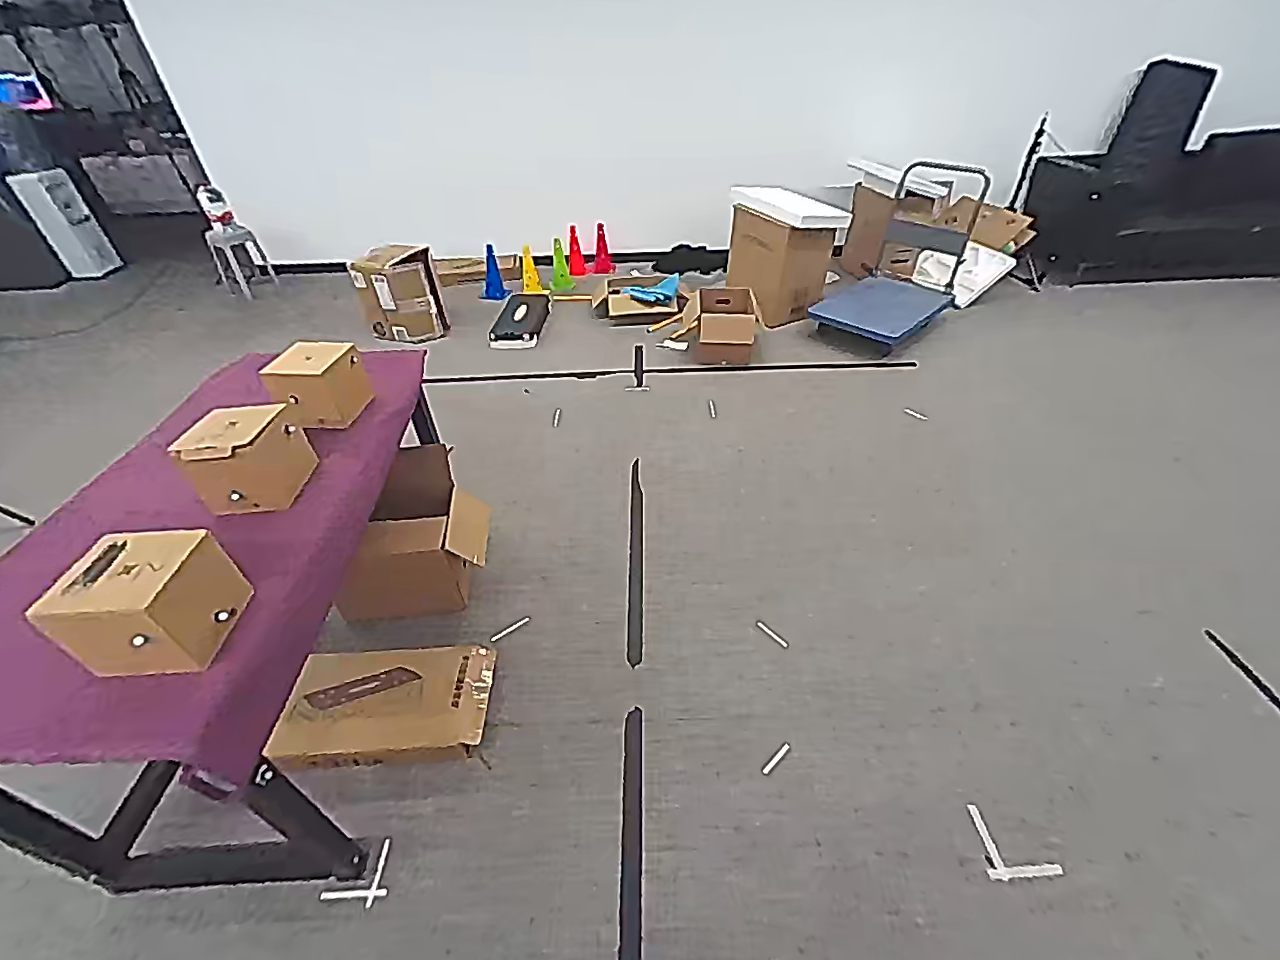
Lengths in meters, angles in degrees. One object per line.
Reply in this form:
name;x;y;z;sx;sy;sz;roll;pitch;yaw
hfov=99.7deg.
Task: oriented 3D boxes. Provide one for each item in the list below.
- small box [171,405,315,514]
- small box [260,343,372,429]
small box;-0.854;-0.046;1.190;0.168;0.176;0.179;-5;40;0
small box;-0.846;-0.248;1.436;0.168;0.176;0.179;1;39;4
